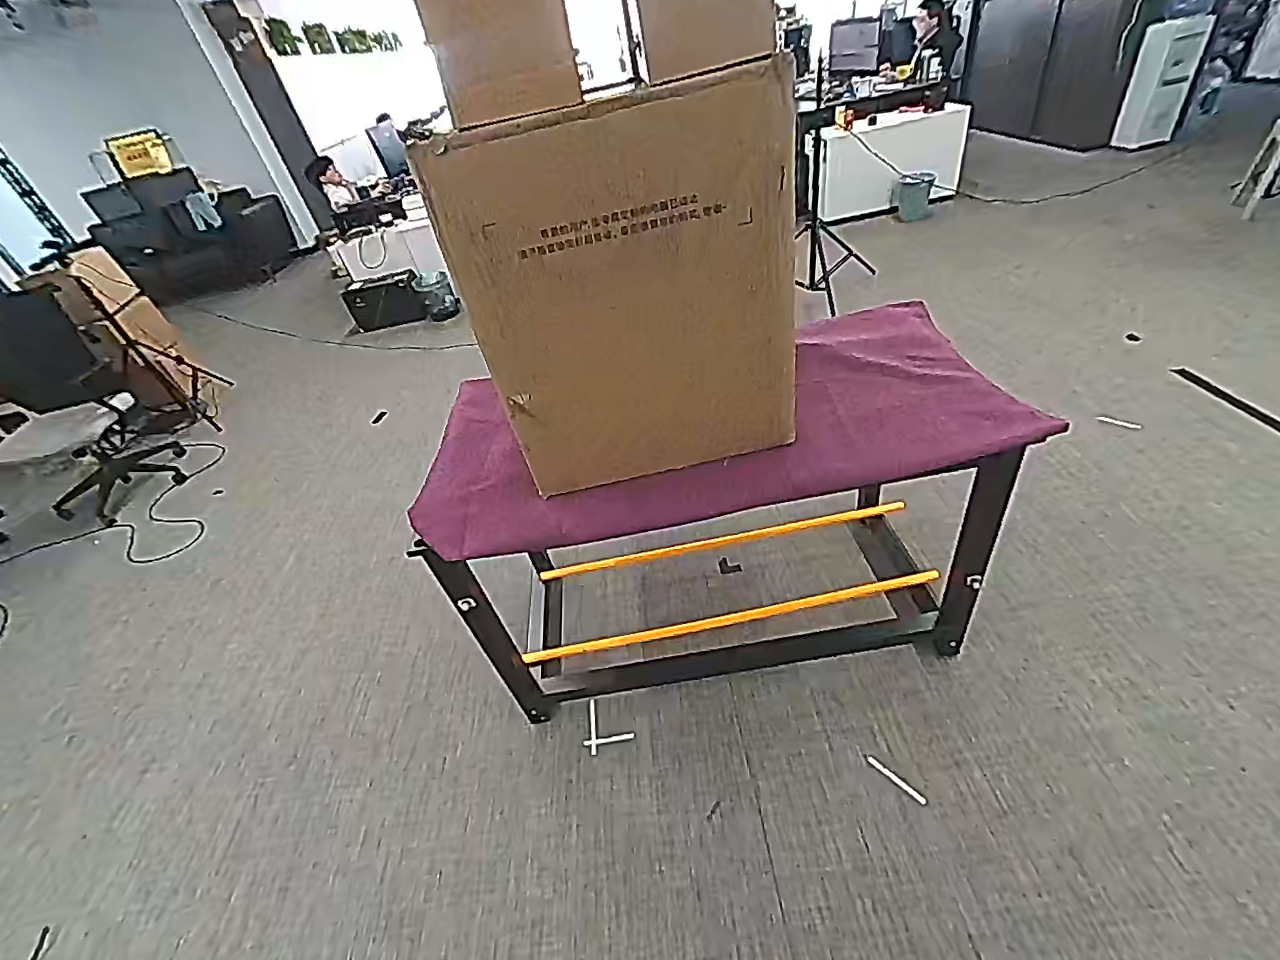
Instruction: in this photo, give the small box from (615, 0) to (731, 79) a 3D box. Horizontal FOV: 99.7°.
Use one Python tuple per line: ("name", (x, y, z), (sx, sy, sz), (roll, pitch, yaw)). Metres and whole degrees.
("small box", (0.045, -0.764, 0.869), (0.168, 0.176, 0.179), (-12, 39, 4))
